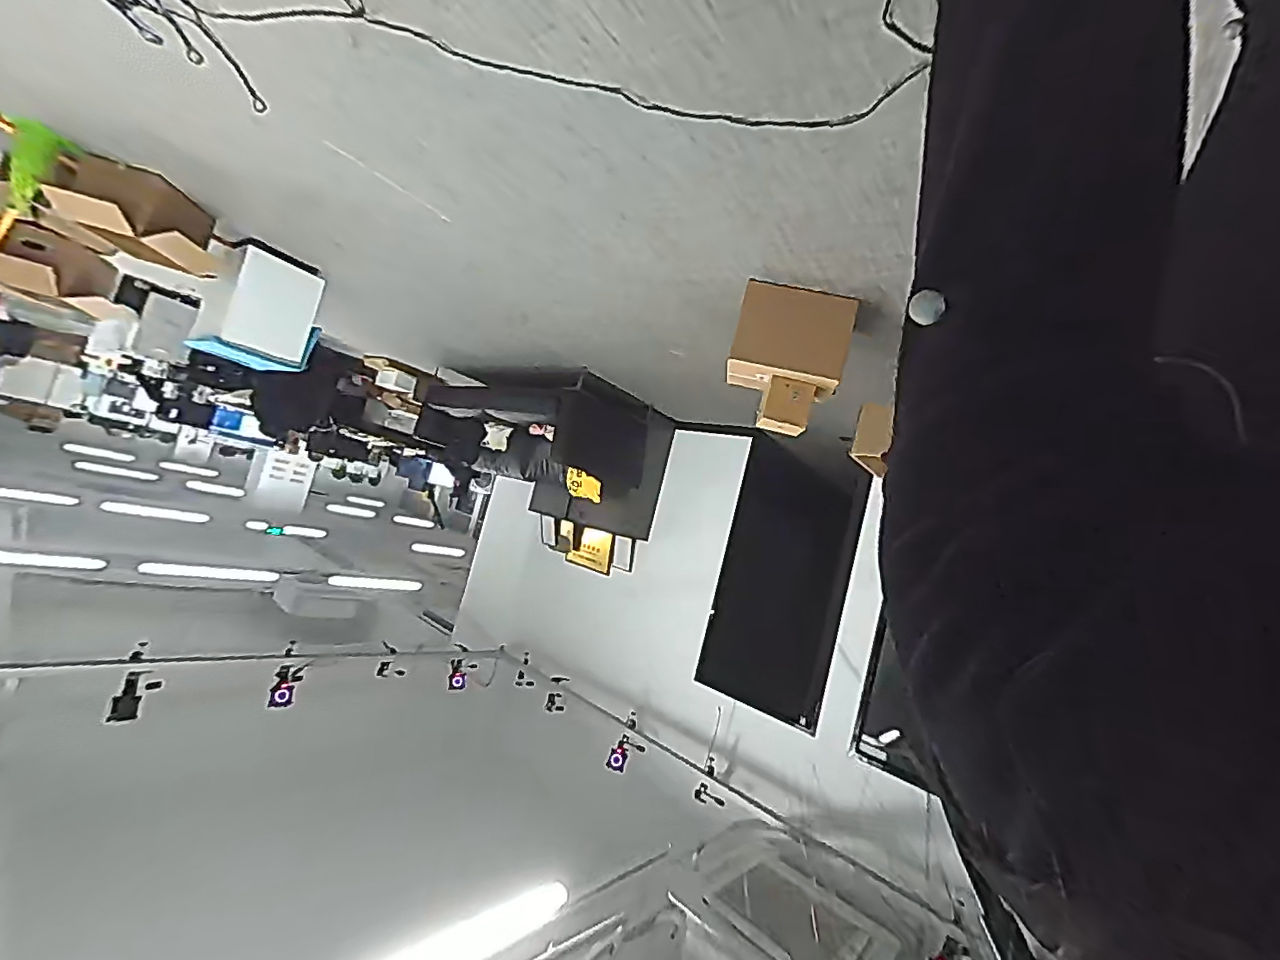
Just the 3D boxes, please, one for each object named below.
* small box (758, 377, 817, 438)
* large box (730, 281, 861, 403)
[{"bbox_3d":[0.559,-0.274,2.054,0.168,0.176,0.179,15,176,6],"label":"small box"},{"bbox_3d":[0.579,-0.520,2.071,0.408,0.320,0.320,15,175,10],"label":"large box"}]
